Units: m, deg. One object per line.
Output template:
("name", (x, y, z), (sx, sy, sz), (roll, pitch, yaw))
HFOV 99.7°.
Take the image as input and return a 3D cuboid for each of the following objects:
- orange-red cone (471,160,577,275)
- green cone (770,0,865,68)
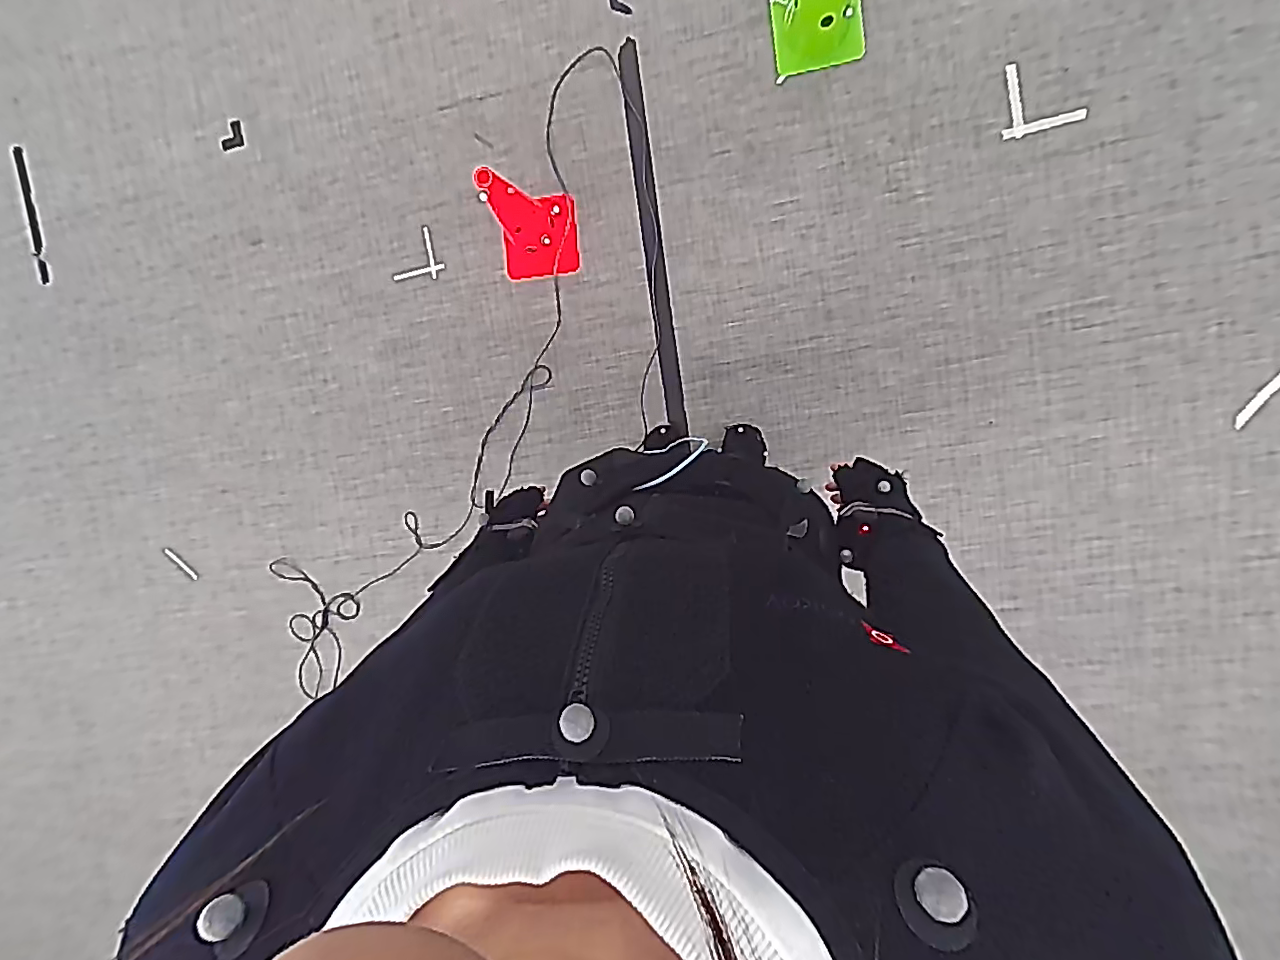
("orange-red cone", (-0.289, -0.623, 1.232), (0.199, 0.360, 0.198), (-3, 94, 10))
("green cone", (0.387, -1.052, 1.081), (0.202, 0.368, 0.200), (-8, 95, 8))
